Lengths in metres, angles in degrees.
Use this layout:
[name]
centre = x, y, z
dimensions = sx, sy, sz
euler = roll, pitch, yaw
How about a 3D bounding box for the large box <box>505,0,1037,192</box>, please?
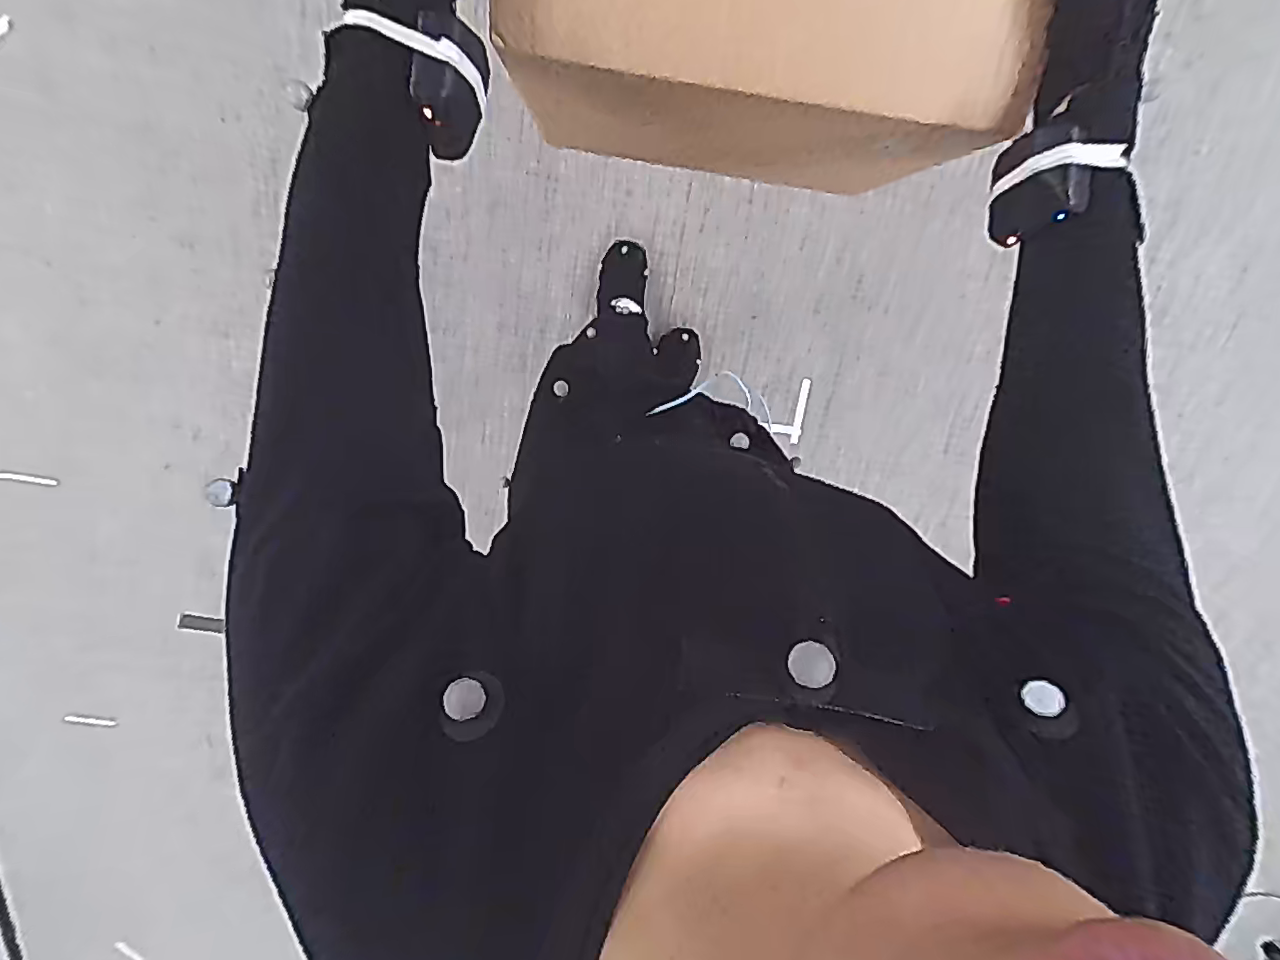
[large box]
centre = 0.103, -0.492, 0.511
dimensions = 0.408, 0.320, 0.320
euler = 7, 110, -5
